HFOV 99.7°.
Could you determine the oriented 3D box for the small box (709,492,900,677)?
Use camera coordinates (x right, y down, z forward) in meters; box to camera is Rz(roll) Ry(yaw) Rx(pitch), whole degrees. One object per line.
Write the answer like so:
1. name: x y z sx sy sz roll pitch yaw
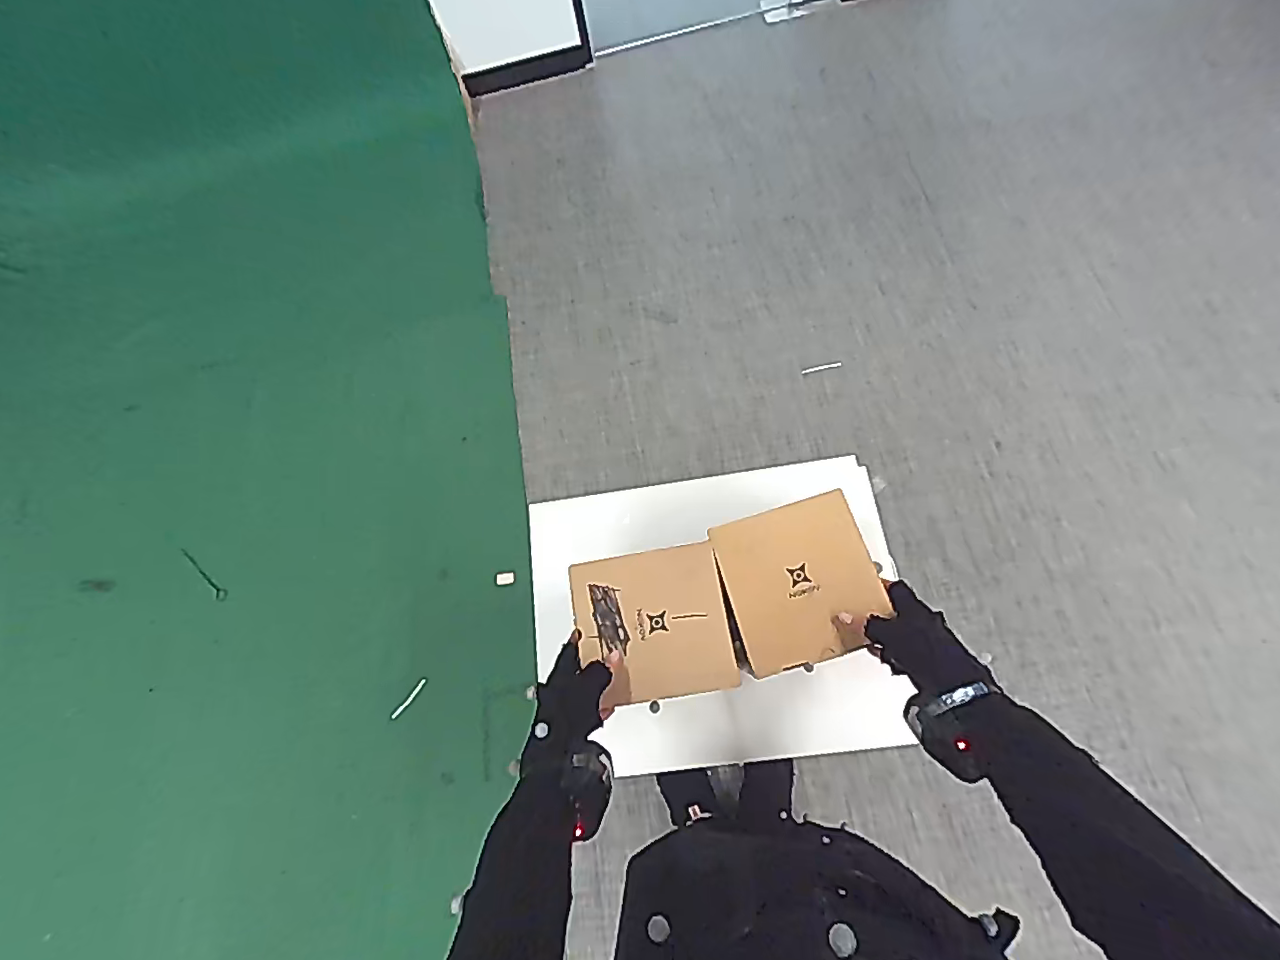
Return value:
1. small box: 0.192 0.139 0.680 0.168 0.176 0.179 -18 70 5
